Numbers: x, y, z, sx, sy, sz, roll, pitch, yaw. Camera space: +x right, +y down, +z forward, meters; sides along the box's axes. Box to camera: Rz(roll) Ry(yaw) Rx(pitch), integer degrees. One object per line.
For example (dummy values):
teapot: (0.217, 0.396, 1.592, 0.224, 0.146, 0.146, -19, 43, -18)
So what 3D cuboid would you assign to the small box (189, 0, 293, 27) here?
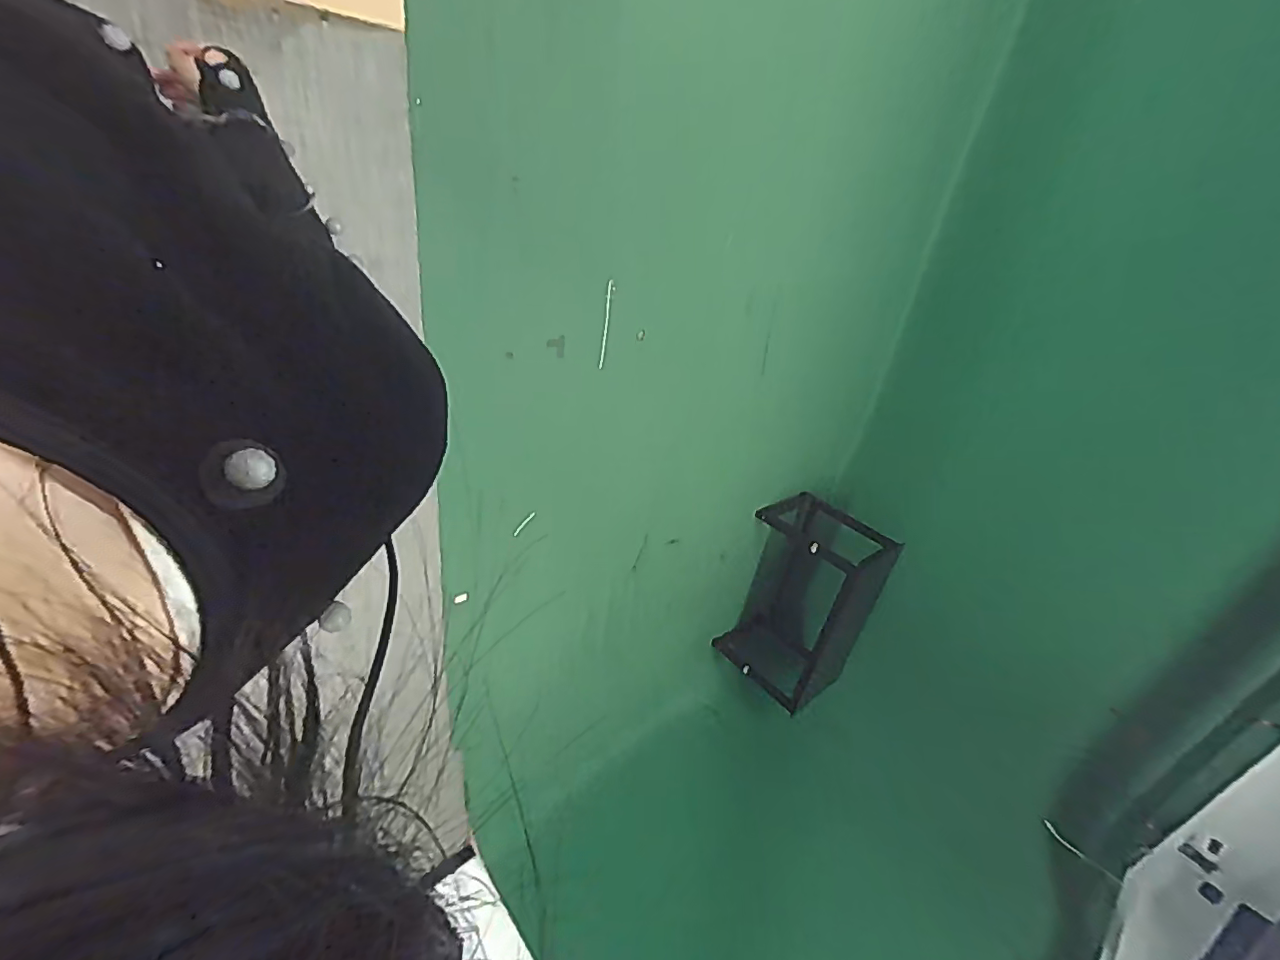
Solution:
small box: (-0.693, -0.910, 0.934, 0.179, 0.176, 0.168, -17, 129, -41)

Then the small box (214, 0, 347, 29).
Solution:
small box: (-0.582, -0.835, 0.842, 0.168, 0.176, 0.179, -19, 132, -39)
